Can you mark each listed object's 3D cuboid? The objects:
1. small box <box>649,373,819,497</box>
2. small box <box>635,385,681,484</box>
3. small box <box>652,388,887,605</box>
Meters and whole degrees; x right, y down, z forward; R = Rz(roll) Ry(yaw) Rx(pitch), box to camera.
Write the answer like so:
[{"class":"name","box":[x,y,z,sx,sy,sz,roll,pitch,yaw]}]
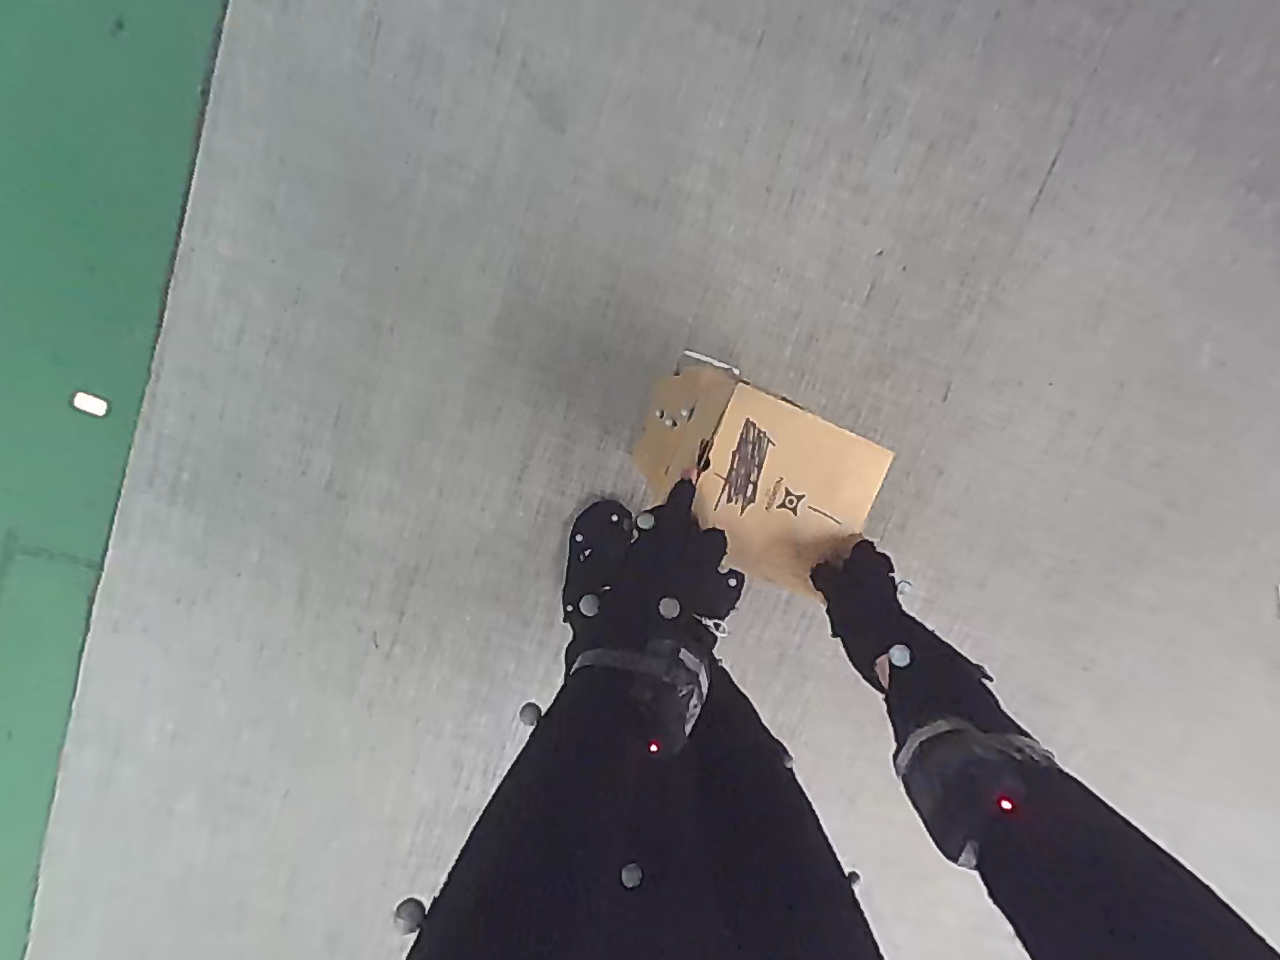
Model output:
[{"class":"small box","box":[0.118,-0.041,0.770,0.168,0.176,0.179,21,100,-8]},{"class":"small box","box":[0.105,-0.060,0.932,0.179,0.176,0.168,21,98,-10]},{"class":"small box","box":[0.126,0.013,0.605,0.179,0.176,0.168,23,93,-8]}]
